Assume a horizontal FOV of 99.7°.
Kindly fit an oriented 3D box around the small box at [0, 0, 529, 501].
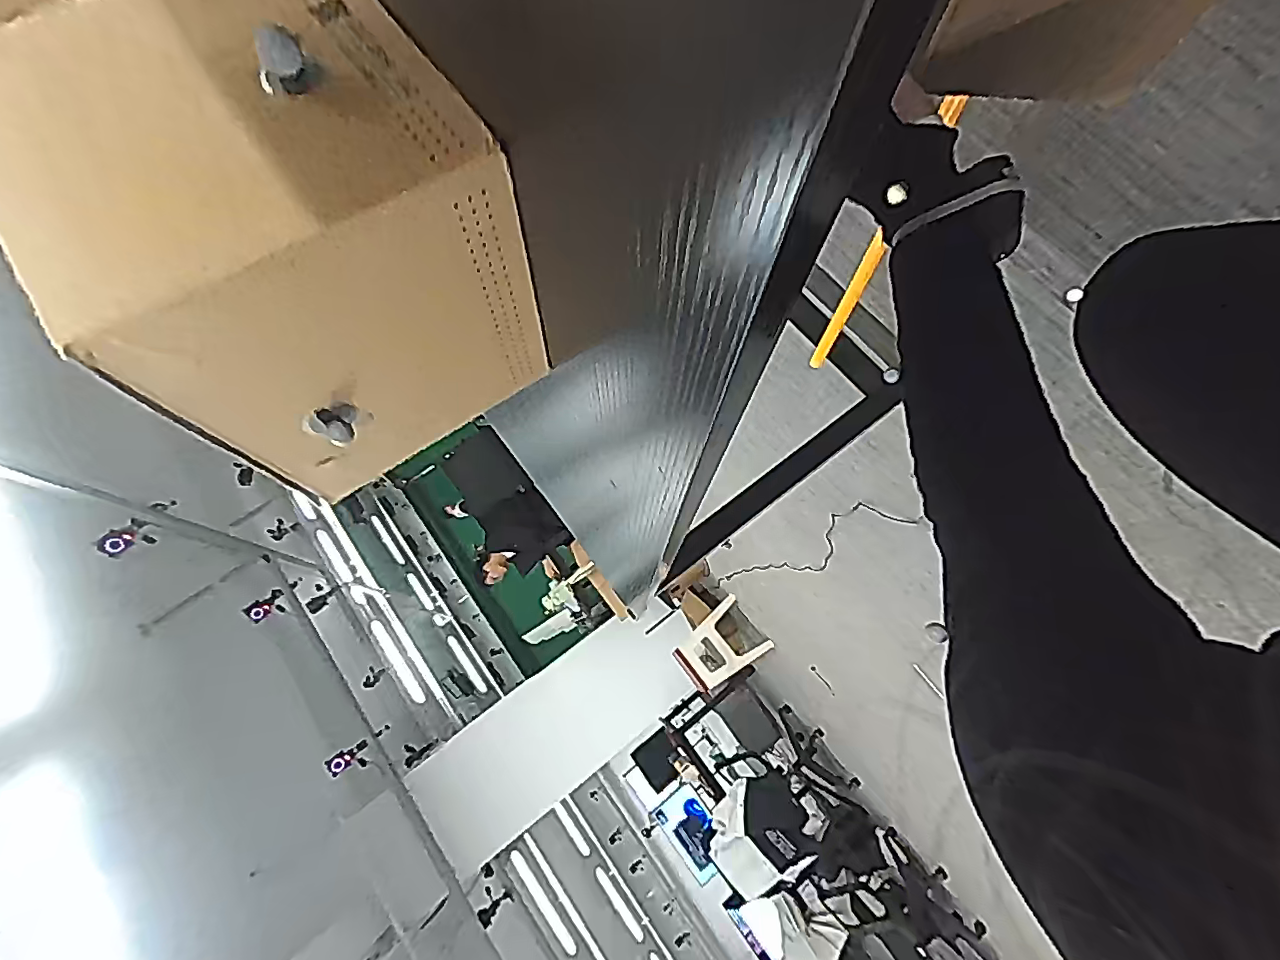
[{"bbox_3d":[-0.176,-0.119,0.293,0.168,0.176,0.179,52,166,12],"label":"small box"}]
